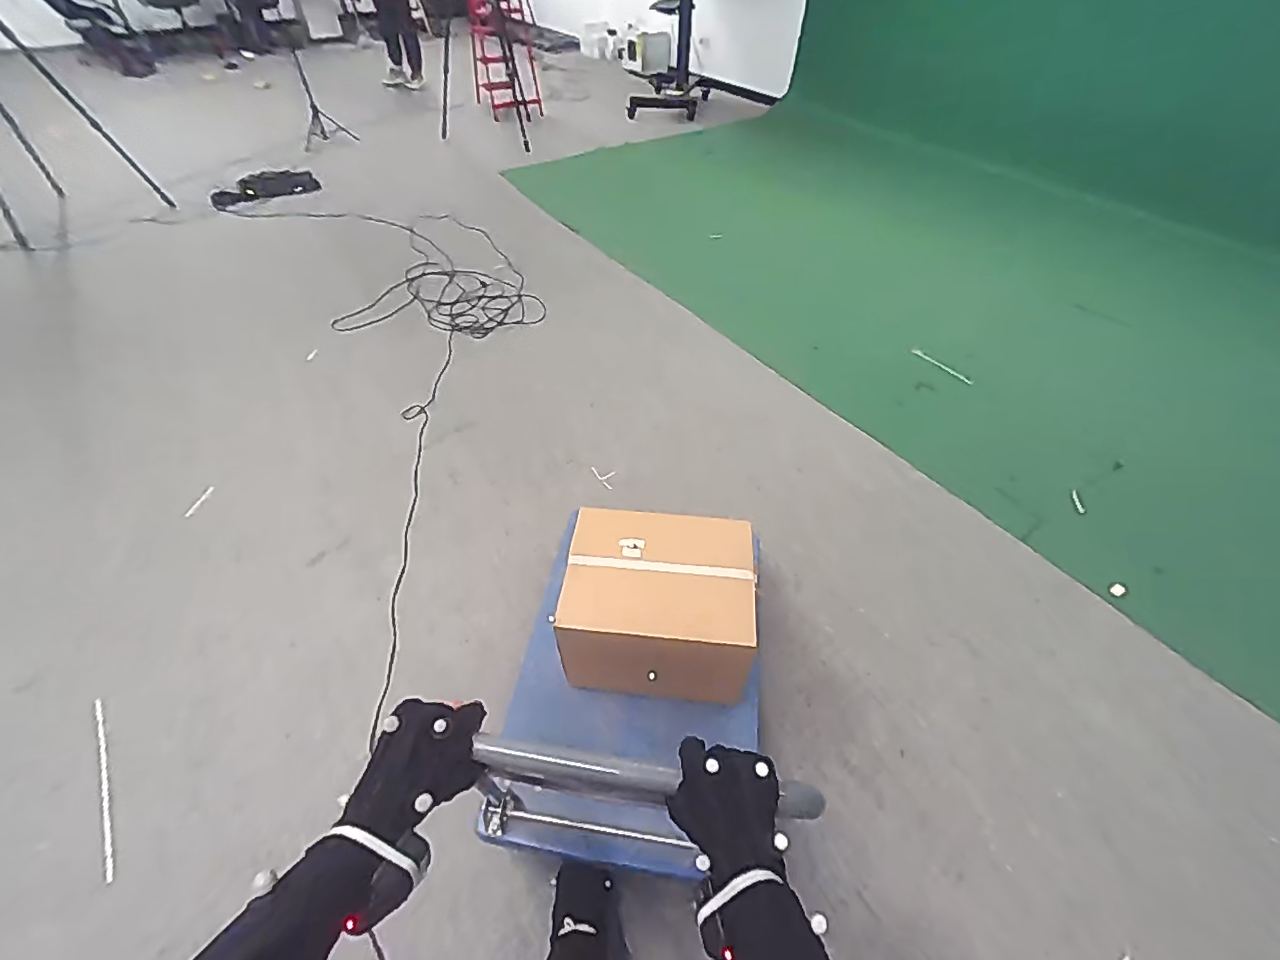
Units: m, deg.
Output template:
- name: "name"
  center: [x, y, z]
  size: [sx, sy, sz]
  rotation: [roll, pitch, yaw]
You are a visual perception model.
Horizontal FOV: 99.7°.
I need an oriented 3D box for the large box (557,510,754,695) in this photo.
- name: "large box"
  center: [0.044, 0.295, 1.288]
  size: [0.408, 0.320, 0.320]
  rotation: [4, 47, 4]
